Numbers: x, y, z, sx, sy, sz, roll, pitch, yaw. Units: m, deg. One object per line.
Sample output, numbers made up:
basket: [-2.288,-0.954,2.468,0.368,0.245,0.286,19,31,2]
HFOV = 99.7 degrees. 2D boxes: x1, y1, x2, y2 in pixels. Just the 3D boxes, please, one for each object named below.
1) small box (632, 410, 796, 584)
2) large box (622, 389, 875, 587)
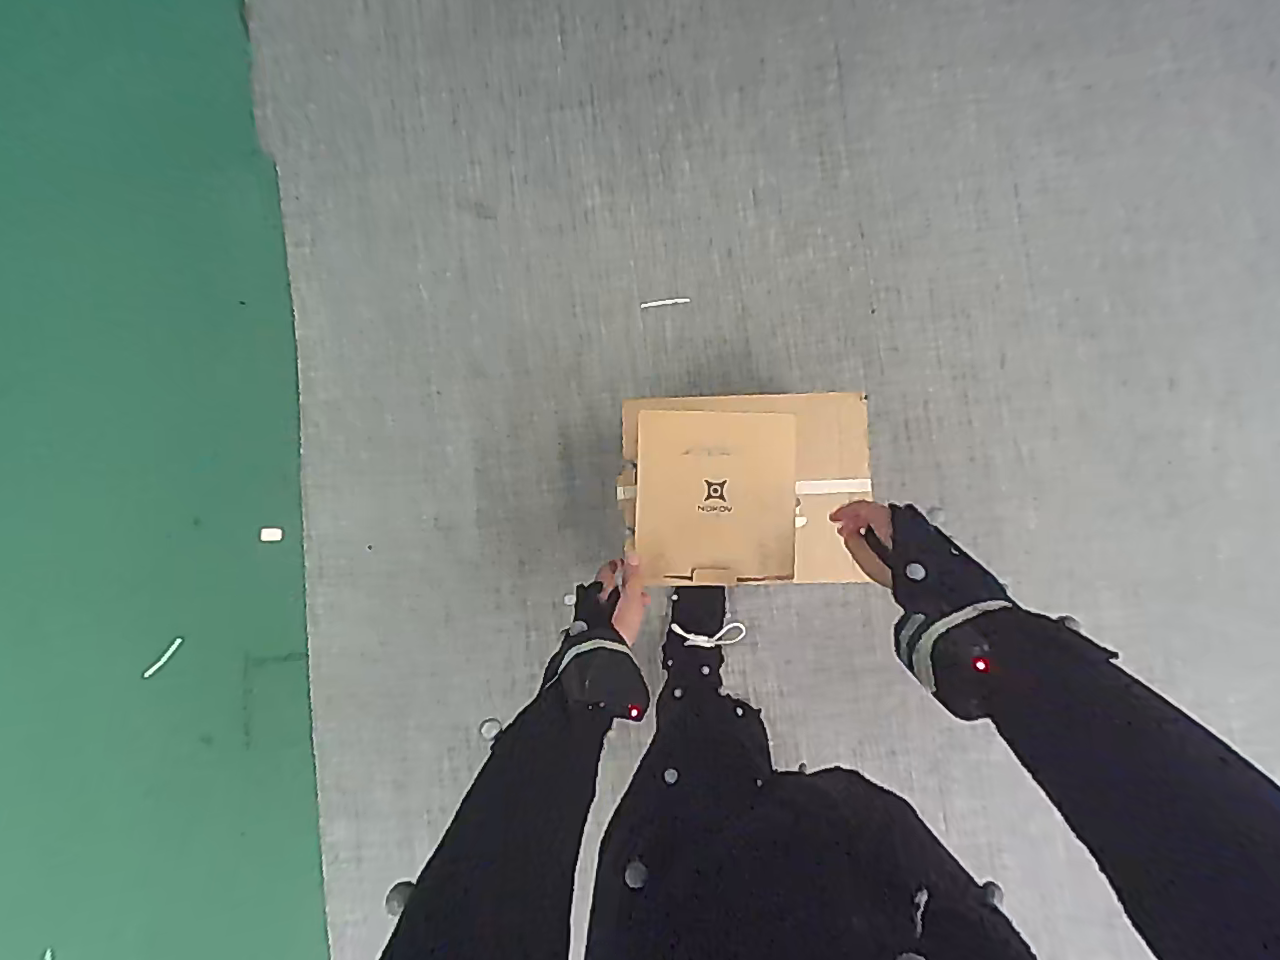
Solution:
small box: [0.078,0.021,0.631,0.168,0.176,0.179,1,86,1]
large box: [0.179,0.021,1.035,0.408,0.320,0.320,-2,87,2]
